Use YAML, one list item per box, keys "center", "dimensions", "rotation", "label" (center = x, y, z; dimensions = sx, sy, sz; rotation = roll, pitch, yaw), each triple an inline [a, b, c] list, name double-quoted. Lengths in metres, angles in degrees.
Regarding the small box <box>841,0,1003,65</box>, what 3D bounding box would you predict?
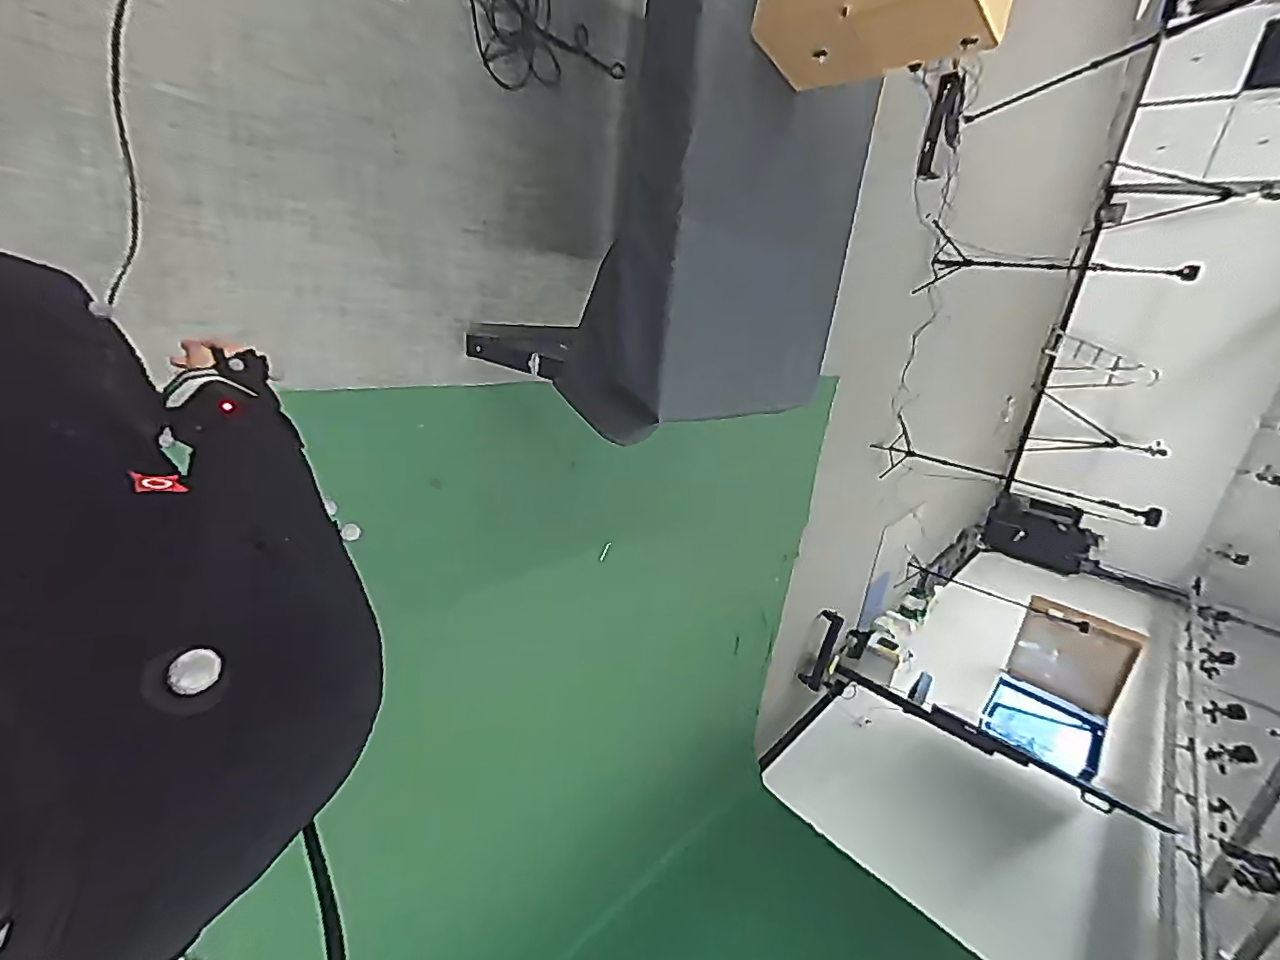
- center: [0.408, -0.725, 0.764]
  dimensions: [0.179, 0.176, 0.168]
  rotation: [-11, 115, -46]
  label: "small box"
